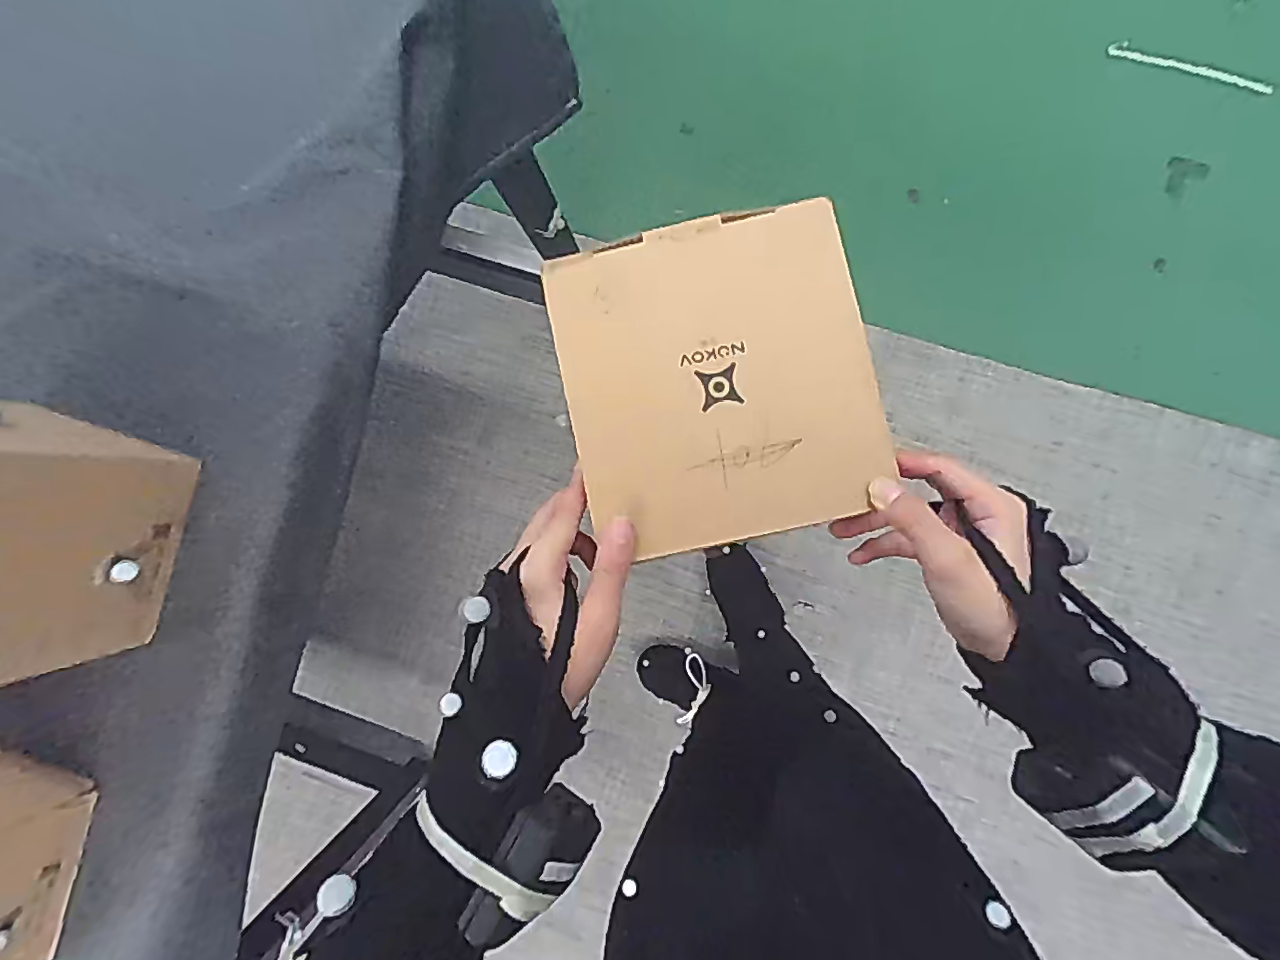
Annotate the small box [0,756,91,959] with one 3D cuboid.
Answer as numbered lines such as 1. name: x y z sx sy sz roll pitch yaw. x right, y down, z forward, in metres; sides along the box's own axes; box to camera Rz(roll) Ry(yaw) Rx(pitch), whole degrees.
1. small box: -0.583 0.320 0.395 0.179 0.176 0.168 15 90 5

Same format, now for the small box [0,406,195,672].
1. small box: -0.486 0.036 0.386 0.179 0.176 0.168 17 91 5

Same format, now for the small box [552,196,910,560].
1. small box: 0.049 -0.051 0.371 0.168 0.176 0.179 -12 87 2
